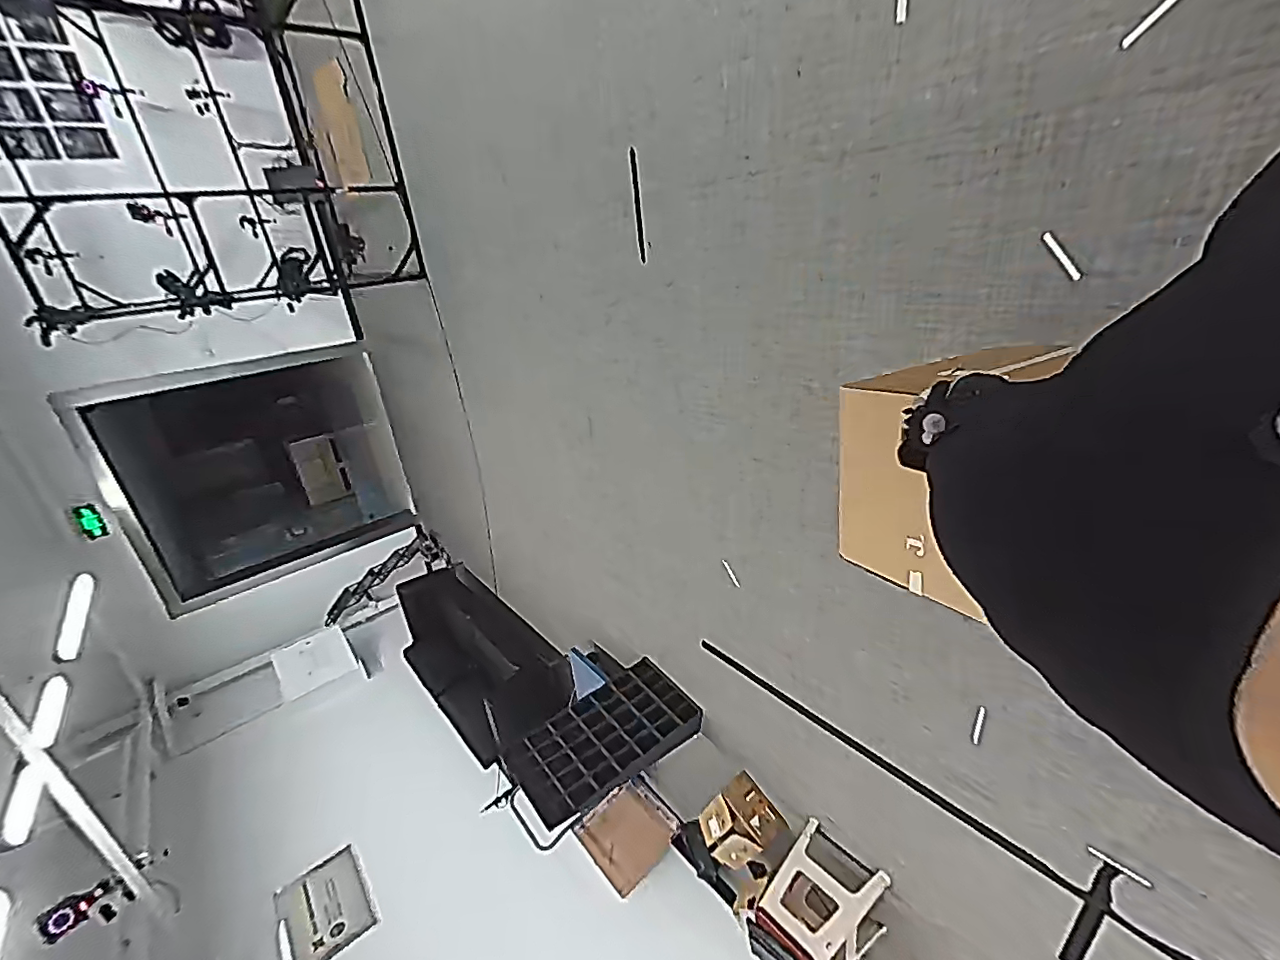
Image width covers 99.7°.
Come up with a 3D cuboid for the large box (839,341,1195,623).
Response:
[{"bbox_3d":[0.580,-0.033,0.876,0.320,0.408,0.320,27,129,59],"label":"large box"}]
